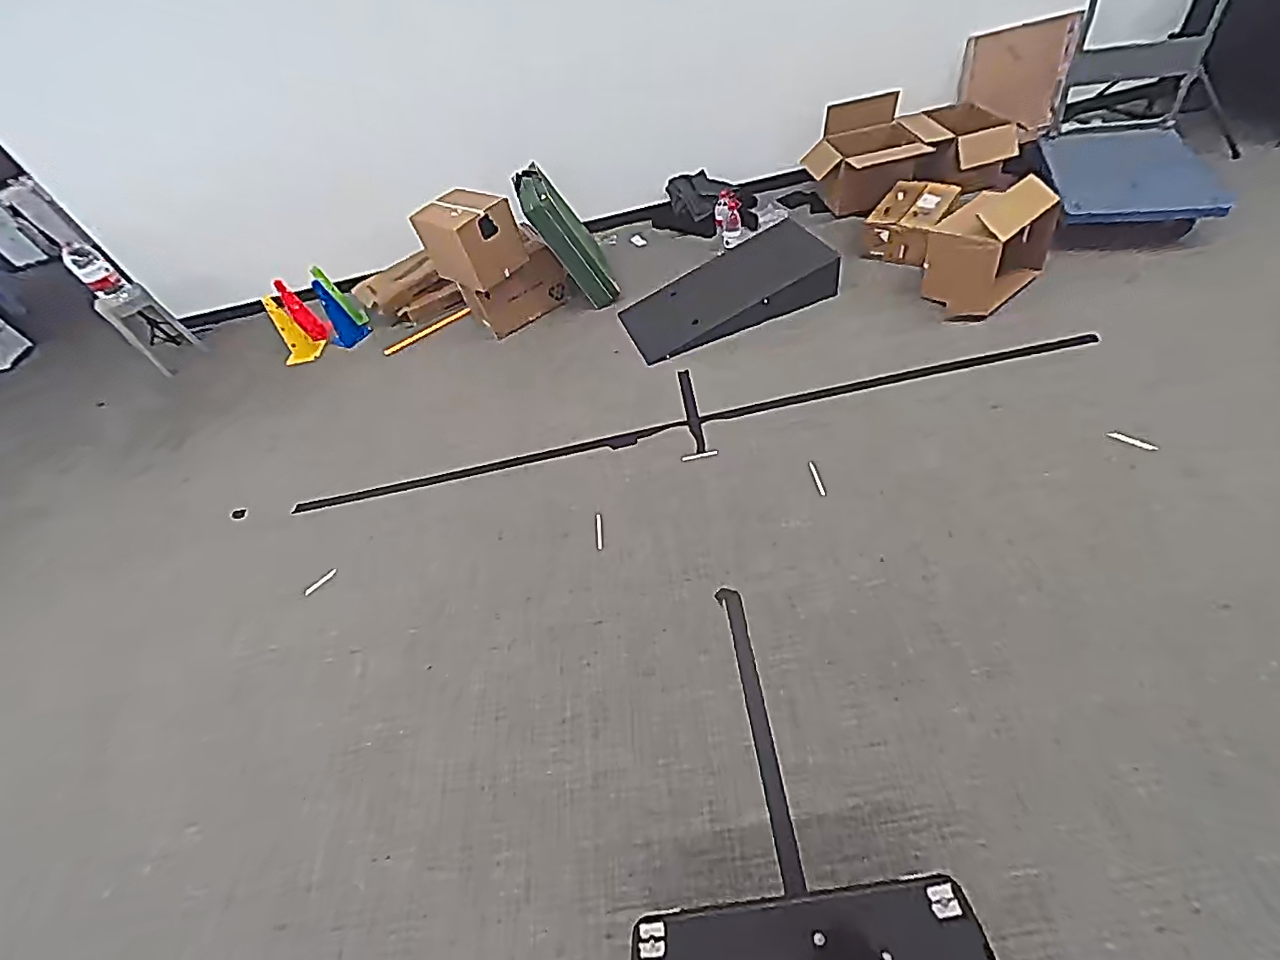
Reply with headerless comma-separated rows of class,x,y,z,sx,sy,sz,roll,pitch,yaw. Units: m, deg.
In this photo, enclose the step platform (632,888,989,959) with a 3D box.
step platform,0.321,1.002,1.030,0.684,0.204,0.286,-12,49,3
